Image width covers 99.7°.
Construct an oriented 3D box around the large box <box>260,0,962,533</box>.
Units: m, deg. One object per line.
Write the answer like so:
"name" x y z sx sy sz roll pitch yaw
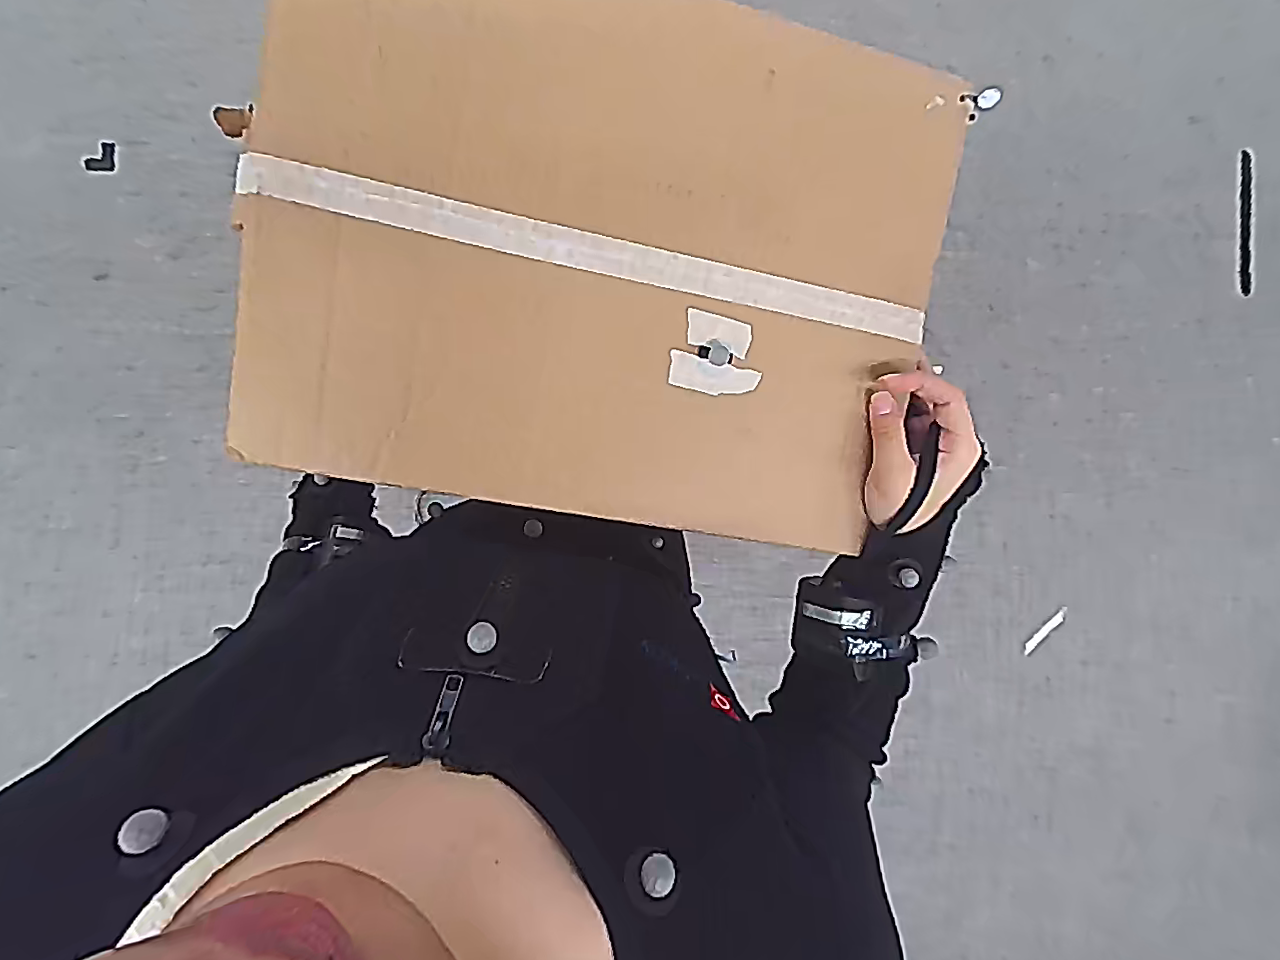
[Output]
"large box" -0.030 -0.158 0.478 0.408 0.320 0.320 9 97 -11
